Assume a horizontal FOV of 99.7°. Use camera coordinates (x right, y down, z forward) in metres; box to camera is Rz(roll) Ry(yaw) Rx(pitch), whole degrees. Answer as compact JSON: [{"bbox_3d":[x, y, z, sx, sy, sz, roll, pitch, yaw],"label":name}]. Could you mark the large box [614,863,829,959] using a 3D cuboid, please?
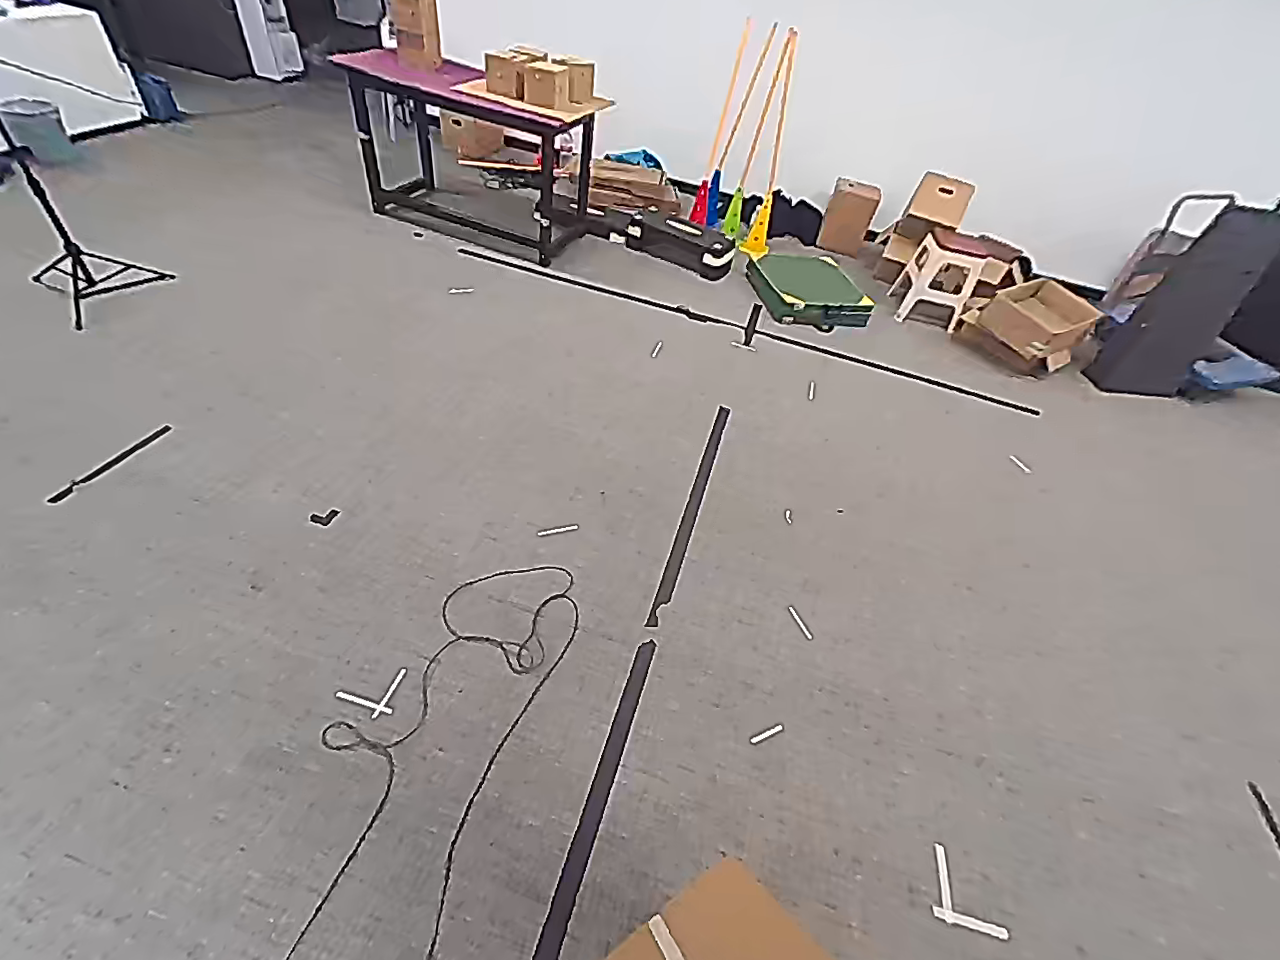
[{"bbox_3d":[0.157,0.803,0.668,0.320,0.408,0.320,-28,90,-20],"label":"large box"}]
